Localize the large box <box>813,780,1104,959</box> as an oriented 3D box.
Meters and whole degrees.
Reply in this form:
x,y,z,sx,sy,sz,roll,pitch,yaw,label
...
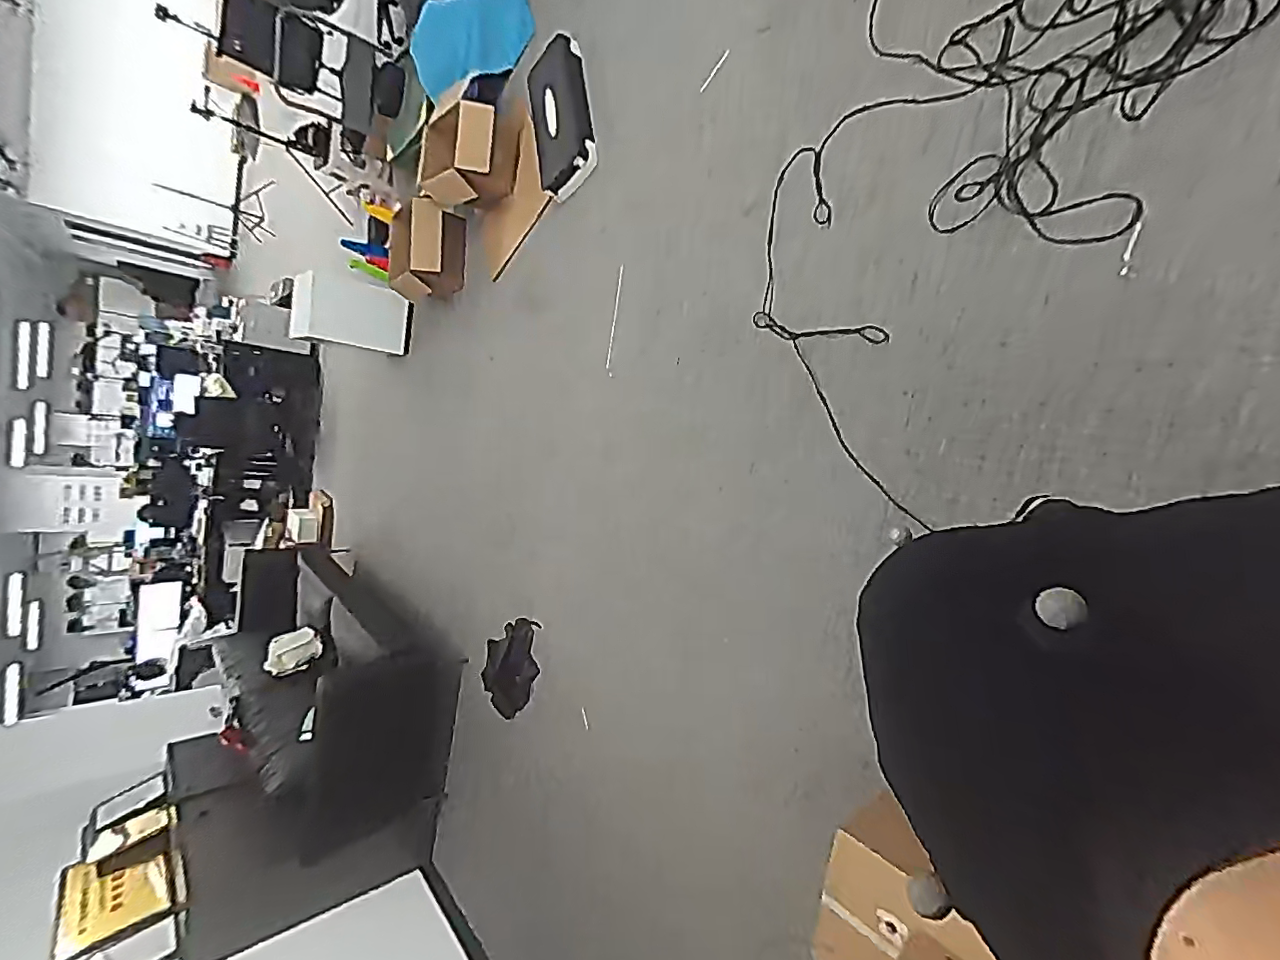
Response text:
x,y,z,sx,sy,sz,roll,pitch,yaw,label
0.631,0.905,1.092,0.408,0.320,0.320,16,99,47,large box
